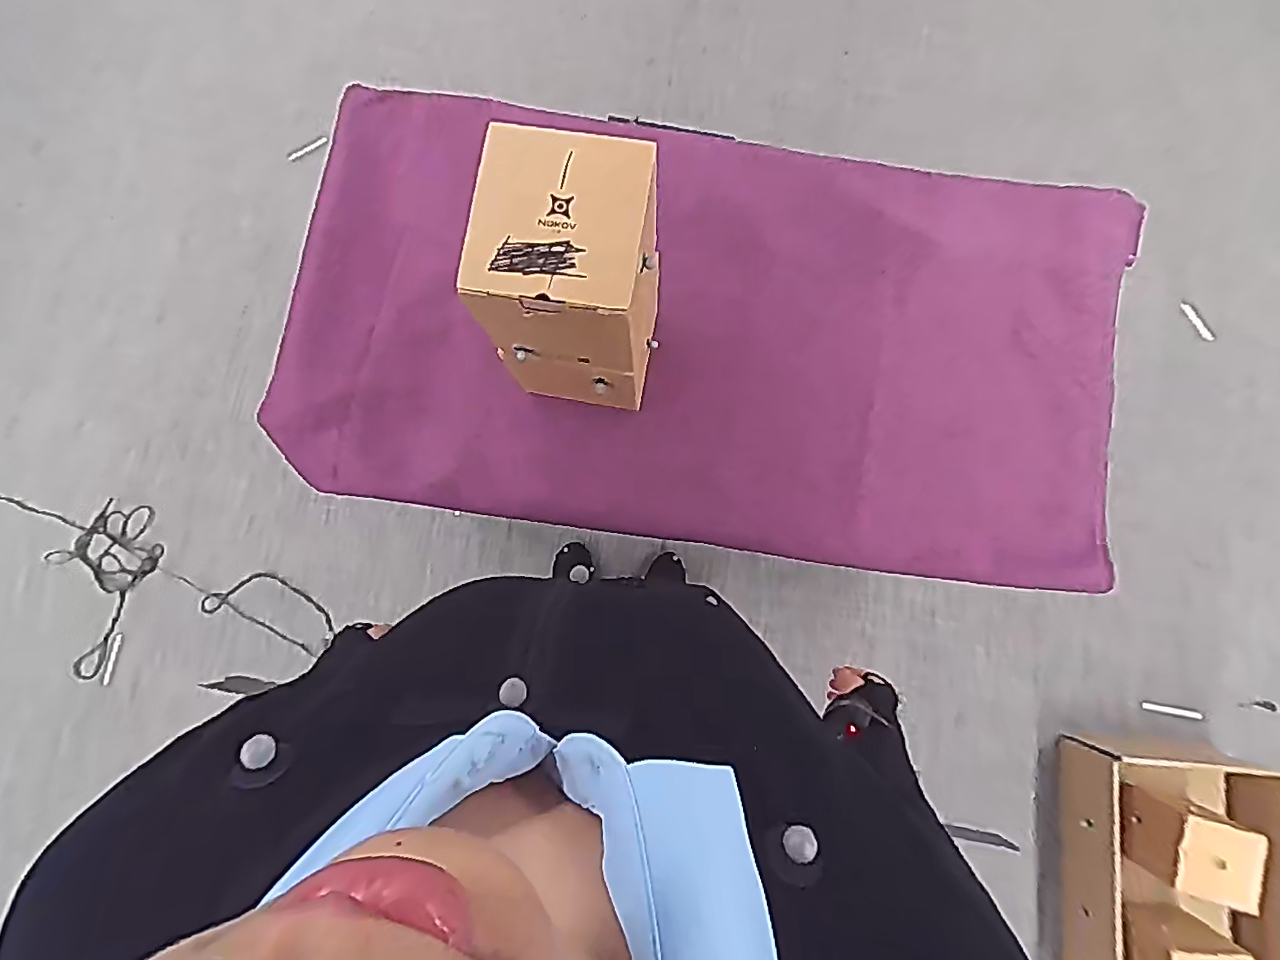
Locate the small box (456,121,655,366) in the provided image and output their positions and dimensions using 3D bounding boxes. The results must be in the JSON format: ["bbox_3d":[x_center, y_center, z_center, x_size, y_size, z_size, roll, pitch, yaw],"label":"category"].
[{"bbox_3d":[-0.075,-0.237,0.582,0.168,0.176,0.179,8,82,2],"label":"small box"}]

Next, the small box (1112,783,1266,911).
[{"bbox_3d":[1.271,0.844,1.262,0.179,0.176,0.168,15,85,3],"label":"small box"}]

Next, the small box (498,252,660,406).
[{"bbox_3d":[-0.073,-0.209,0.745,0.179,0.176,0.168,10,83,3],"label":"small box"}]
